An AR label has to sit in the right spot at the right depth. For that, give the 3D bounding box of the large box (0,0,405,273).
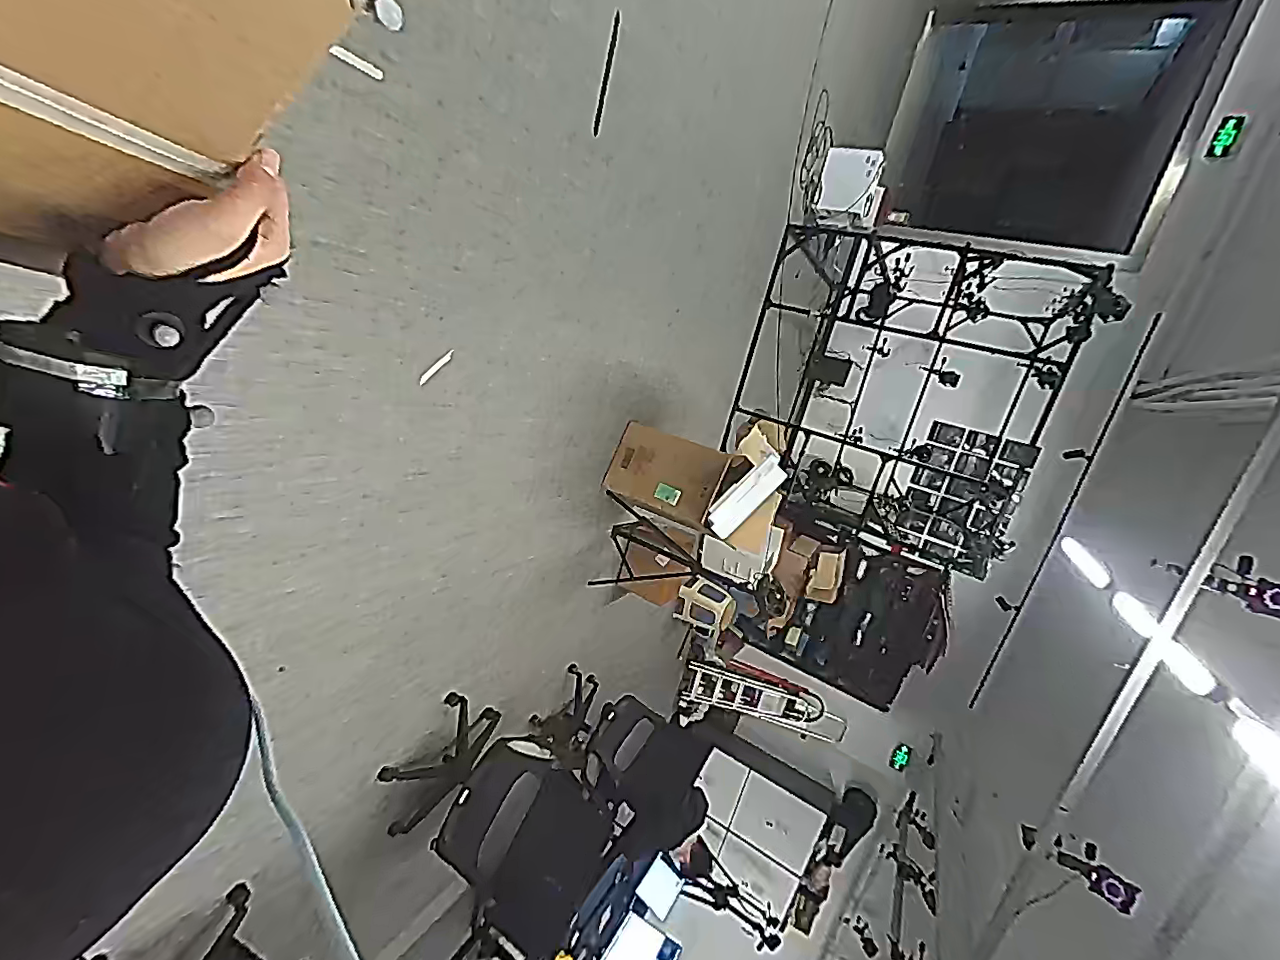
[{"bbox_3d":[-0.343,-0.335,0.166,0.408,0.320,0.320,3,73,-57],"label":"large box"}]
